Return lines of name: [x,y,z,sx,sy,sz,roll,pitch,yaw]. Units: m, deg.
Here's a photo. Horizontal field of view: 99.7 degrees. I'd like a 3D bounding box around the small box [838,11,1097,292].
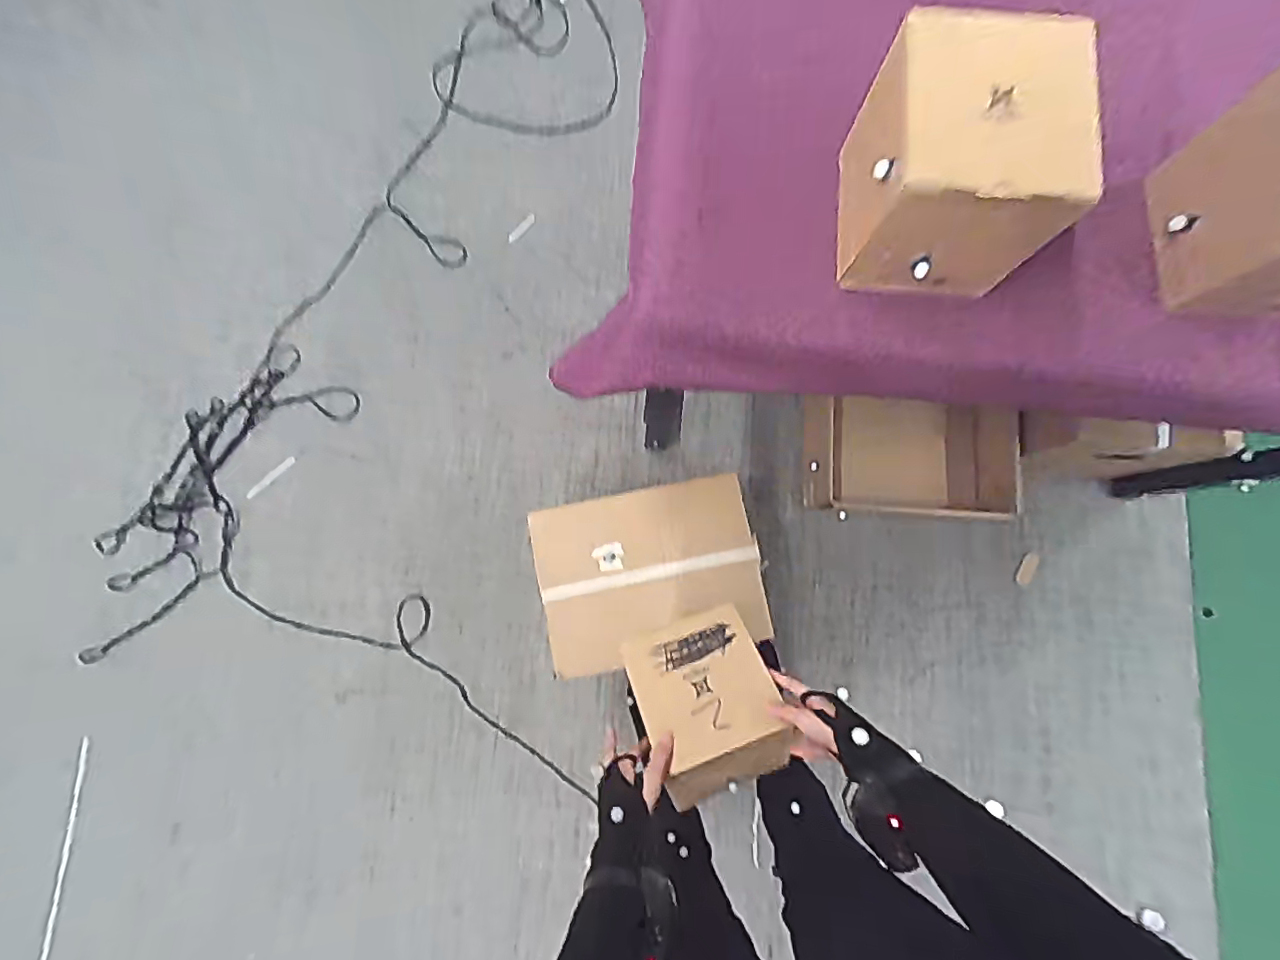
small box: [0.312,-0.319,0.552,0.168,0.176,0.179,4,81,1]
